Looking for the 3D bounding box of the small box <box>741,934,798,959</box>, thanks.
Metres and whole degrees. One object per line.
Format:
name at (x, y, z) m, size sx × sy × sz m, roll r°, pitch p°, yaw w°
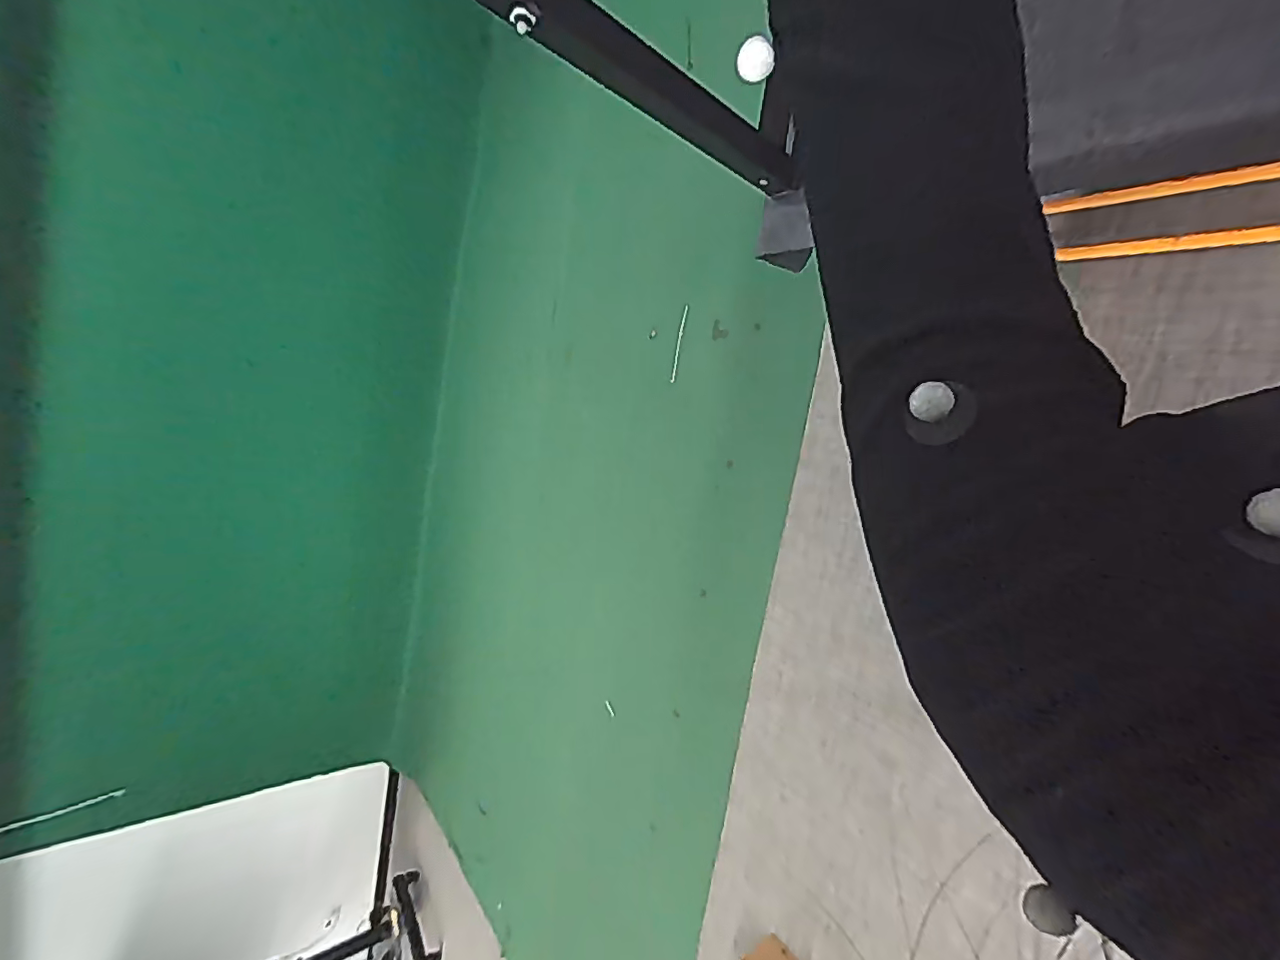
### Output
small box at (0.401, 1.538, 1.629) m, size 0.168 × 0.176 × 0.179 m, roll 20°, pitch 102°, yaw 48°
